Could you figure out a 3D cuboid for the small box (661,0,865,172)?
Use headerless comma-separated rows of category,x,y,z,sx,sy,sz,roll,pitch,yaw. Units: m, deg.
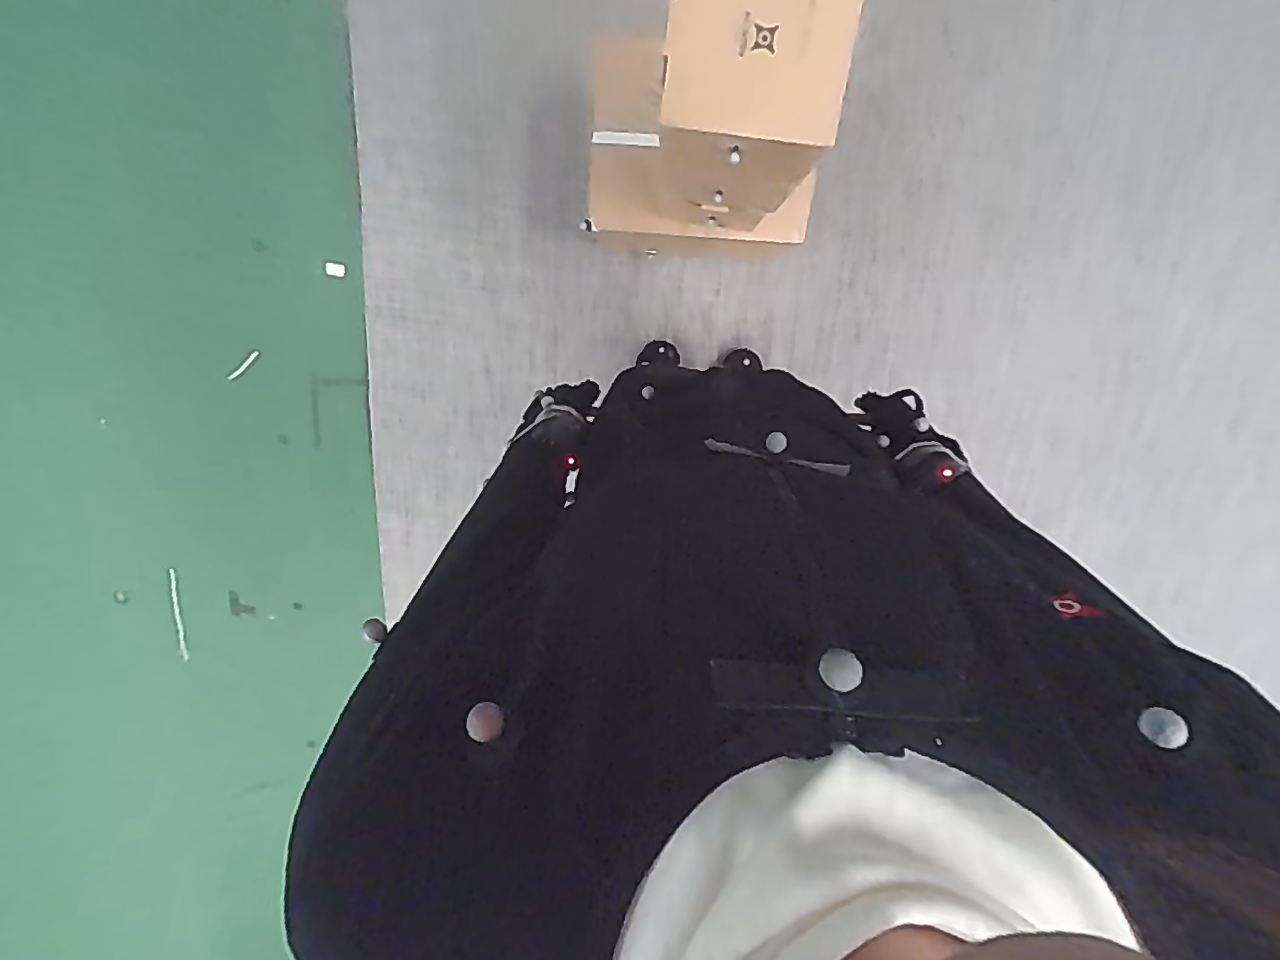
small box,0.122,-0.444,0.577,0.179,0.176,0.168,8,108,2

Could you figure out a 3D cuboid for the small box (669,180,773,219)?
small box,0.145,-0.541,0.888,0.168,0.176,0.179,8,108,3

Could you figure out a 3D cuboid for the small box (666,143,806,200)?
small box,0.136,-0.490,0.731,0.179,0.176,0.168,8,107,4
